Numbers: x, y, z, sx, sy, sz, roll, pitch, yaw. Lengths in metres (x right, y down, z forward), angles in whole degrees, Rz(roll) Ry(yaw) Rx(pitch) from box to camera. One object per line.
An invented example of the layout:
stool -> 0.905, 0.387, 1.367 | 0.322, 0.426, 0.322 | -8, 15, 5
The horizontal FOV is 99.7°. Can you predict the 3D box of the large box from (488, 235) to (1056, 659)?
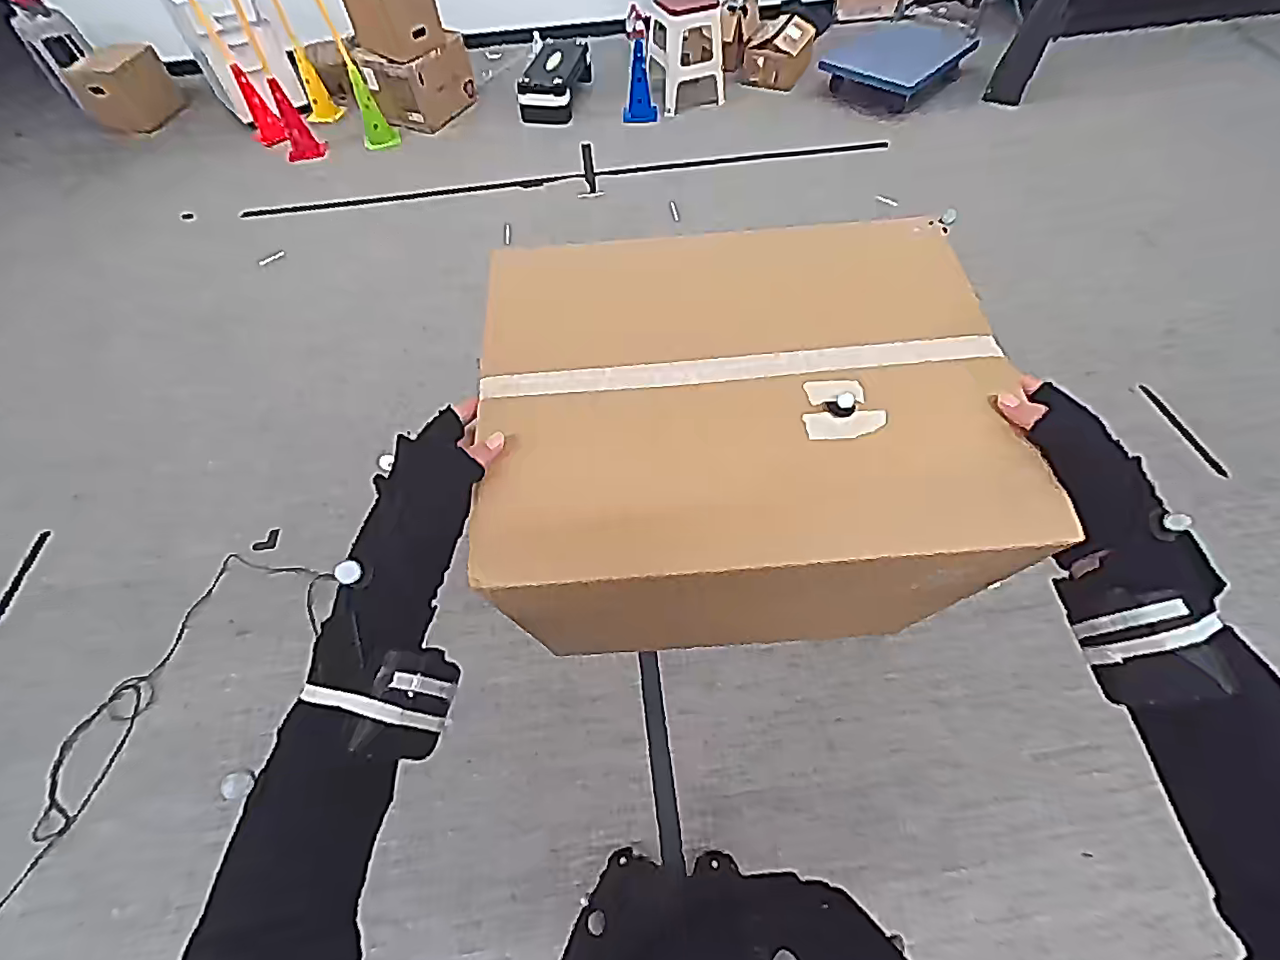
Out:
large box -> 0.082, -0.010, 0.568 | 0.408, 0.320, 0.320 | -5, 64, -1
